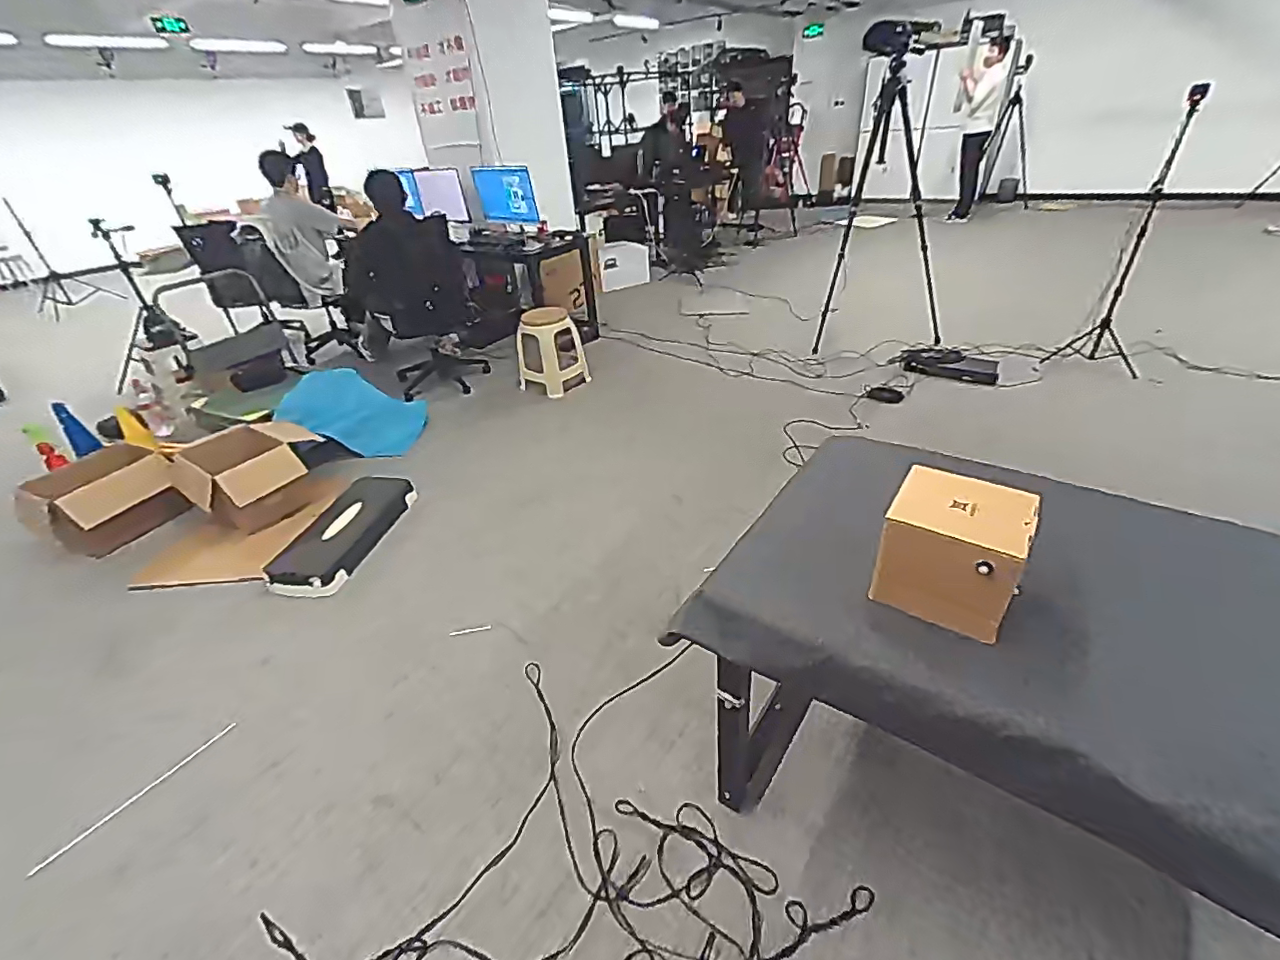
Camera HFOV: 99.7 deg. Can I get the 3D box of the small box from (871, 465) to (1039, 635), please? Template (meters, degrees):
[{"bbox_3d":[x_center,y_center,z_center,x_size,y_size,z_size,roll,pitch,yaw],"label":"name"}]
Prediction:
[{"bbox_3d":[0.471,0.103,0.823,0.179,0.176,0.168,19,40,31],"label":"small box"}]
